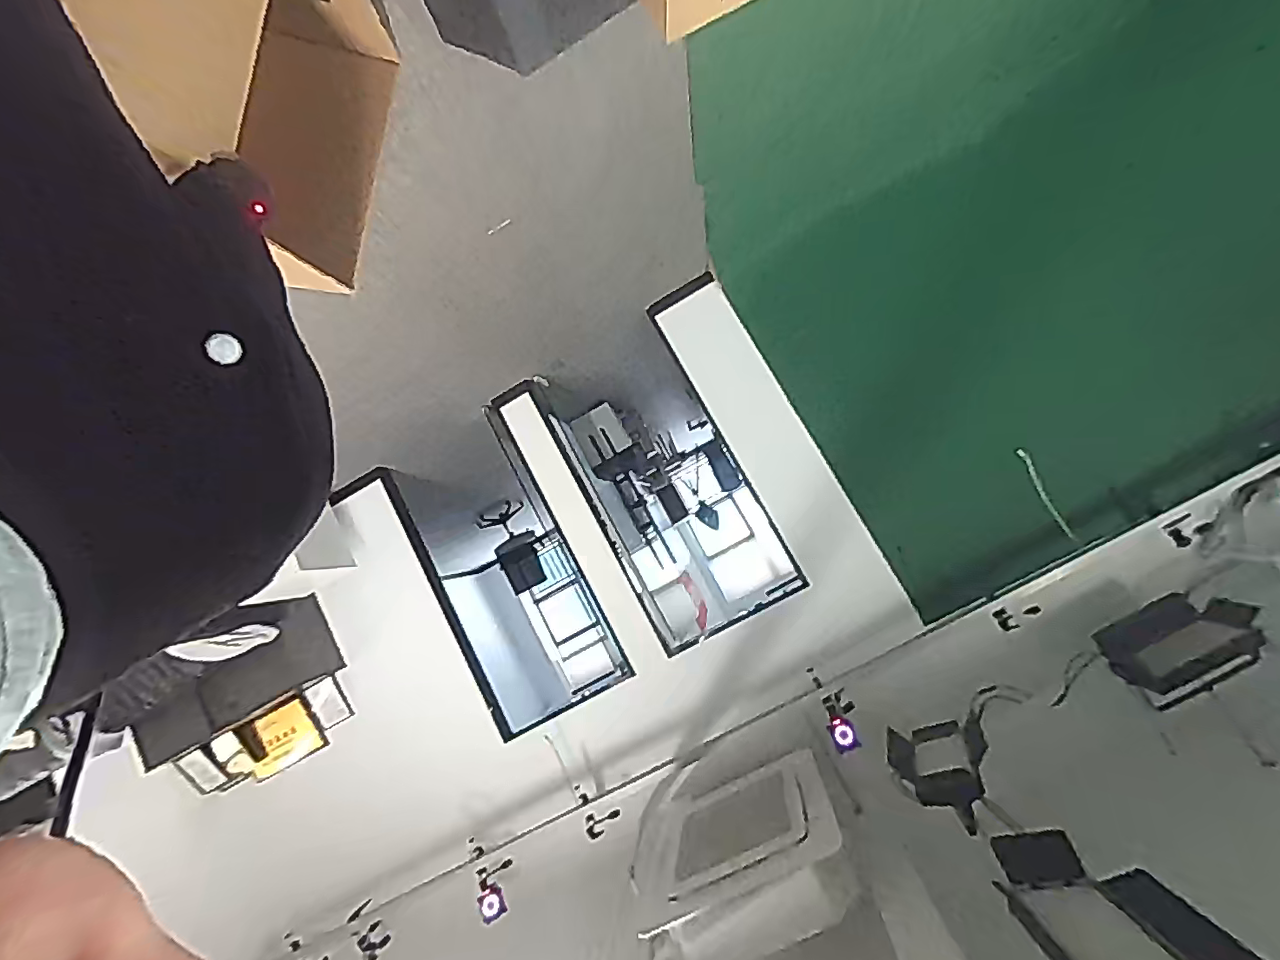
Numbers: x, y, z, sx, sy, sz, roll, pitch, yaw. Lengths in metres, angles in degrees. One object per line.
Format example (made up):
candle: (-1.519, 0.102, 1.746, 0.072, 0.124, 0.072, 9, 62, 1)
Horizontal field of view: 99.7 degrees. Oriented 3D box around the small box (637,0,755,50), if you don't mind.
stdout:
small box: (0.054, -0.669, 0.620, 0.168, 0.176, 0.179, -29, 172, -1)
